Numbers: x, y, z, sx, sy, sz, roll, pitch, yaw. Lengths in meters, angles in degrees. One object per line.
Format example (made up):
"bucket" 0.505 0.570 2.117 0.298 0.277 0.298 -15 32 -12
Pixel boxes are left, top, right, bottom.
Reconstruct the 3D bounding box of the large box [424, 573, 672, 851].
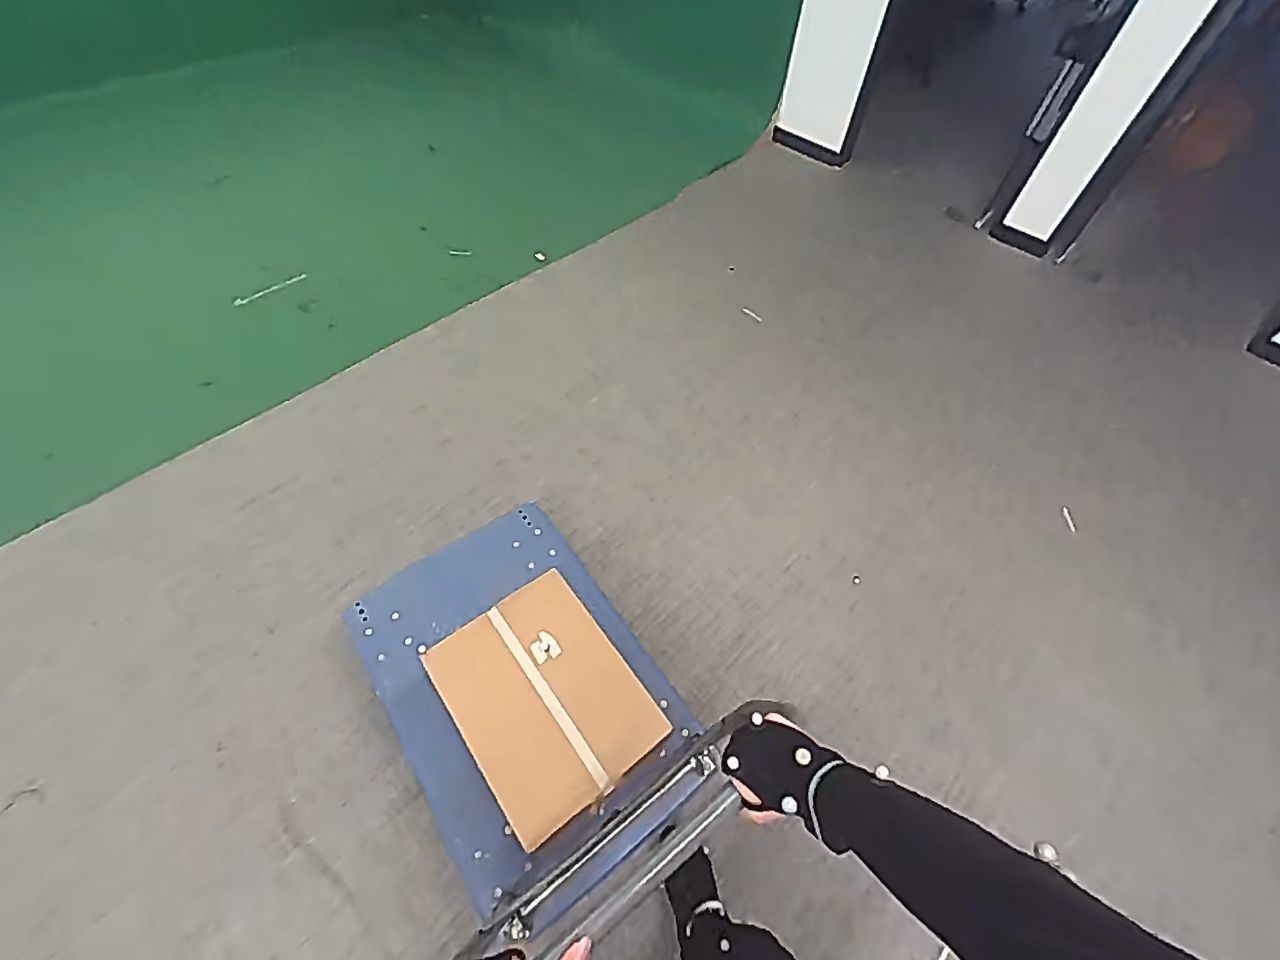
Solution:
"large box" -0.182 0.485 1.140 0.320 0.320 0.408 -31 62 -22
